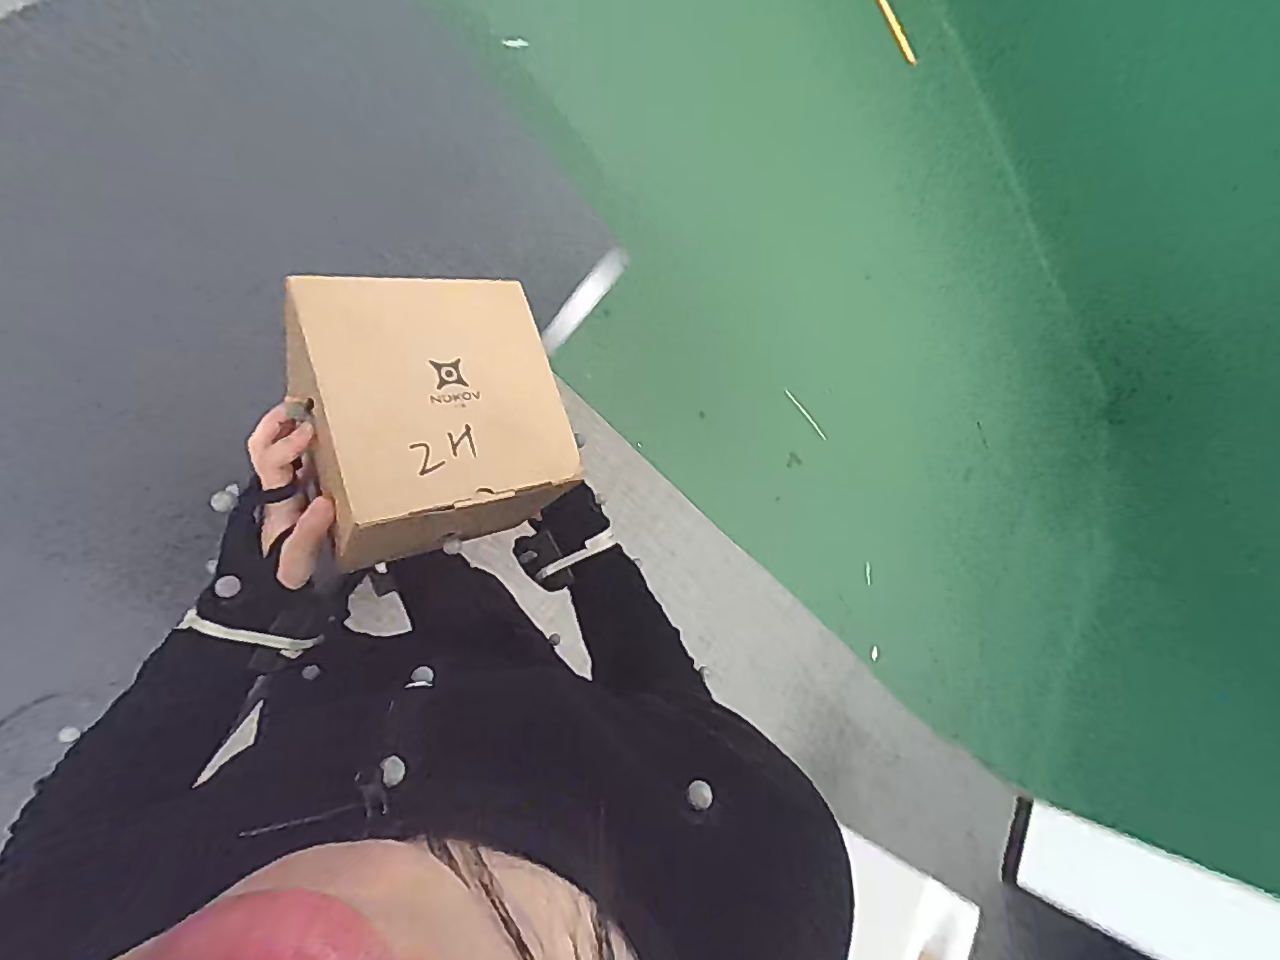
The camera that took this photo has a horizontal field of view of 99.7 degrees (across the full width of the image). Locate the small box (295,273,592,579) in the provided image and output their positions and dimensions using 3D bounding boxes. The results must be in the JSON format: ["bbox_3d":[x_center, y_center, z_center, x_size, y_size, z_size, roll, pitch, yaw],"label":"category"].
[{"bbox_3d":[-0.168,-0.036,0.436,0.168,0.176,0.179,-11,77,-36],"label":"small box"}]
